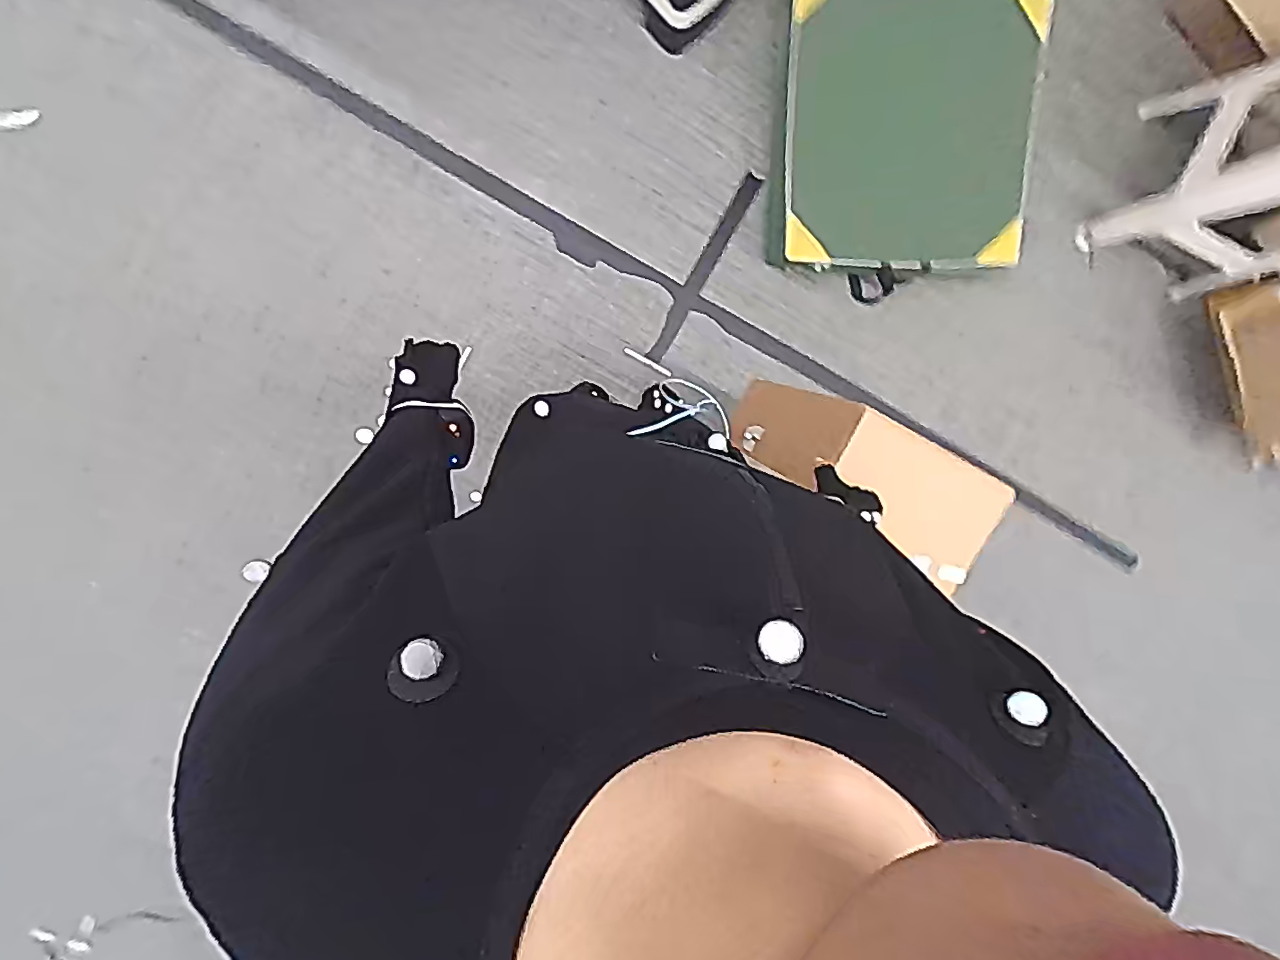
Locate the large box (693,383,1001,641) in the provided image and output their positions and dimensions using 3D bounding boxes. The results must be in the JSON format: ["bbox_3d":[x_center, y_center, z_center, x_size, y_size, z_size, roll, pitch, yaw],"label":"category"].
[{"bbox_3d":[0.348,0.035,1.021,0.320,0.408,0.320,25,100,-15],"label":"large box"}]
